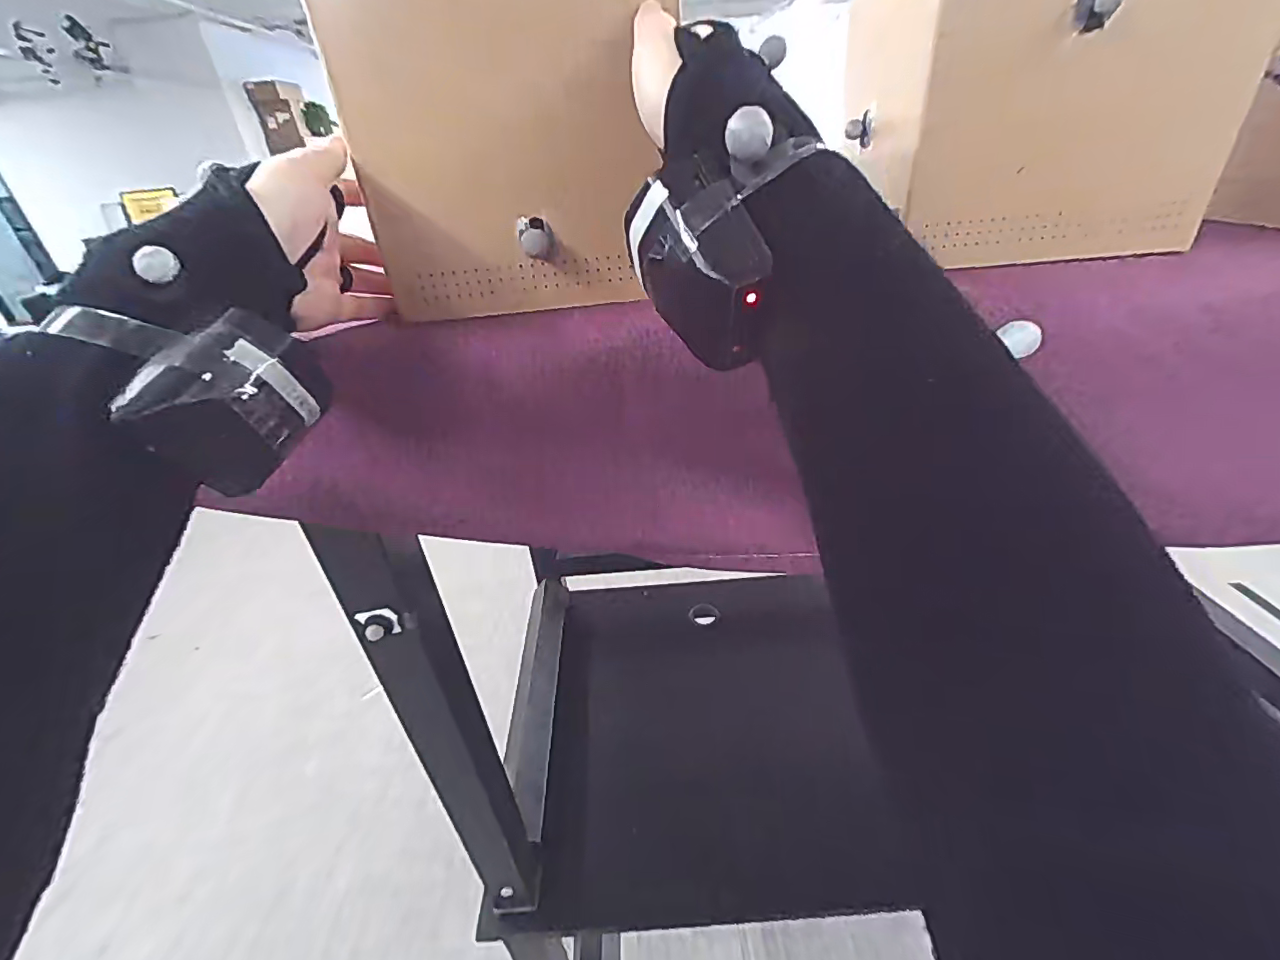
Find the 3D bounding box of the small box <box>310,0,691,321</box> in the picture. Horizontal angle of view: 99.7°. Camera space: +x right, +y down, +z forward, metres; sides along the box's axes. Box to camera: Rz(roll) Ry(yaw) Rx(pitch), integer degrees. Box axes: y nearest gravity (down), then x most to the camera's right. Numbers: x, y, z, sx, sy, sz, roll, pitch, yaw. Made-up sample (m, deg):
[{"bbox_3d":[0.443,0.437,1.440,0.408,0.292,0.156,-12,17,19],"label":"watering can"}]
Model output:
[{"bbox_3d":[-0.069,-0.210,0.346,0.179,0.176,0.168,-7,31,-5],"label":"small box"}]
